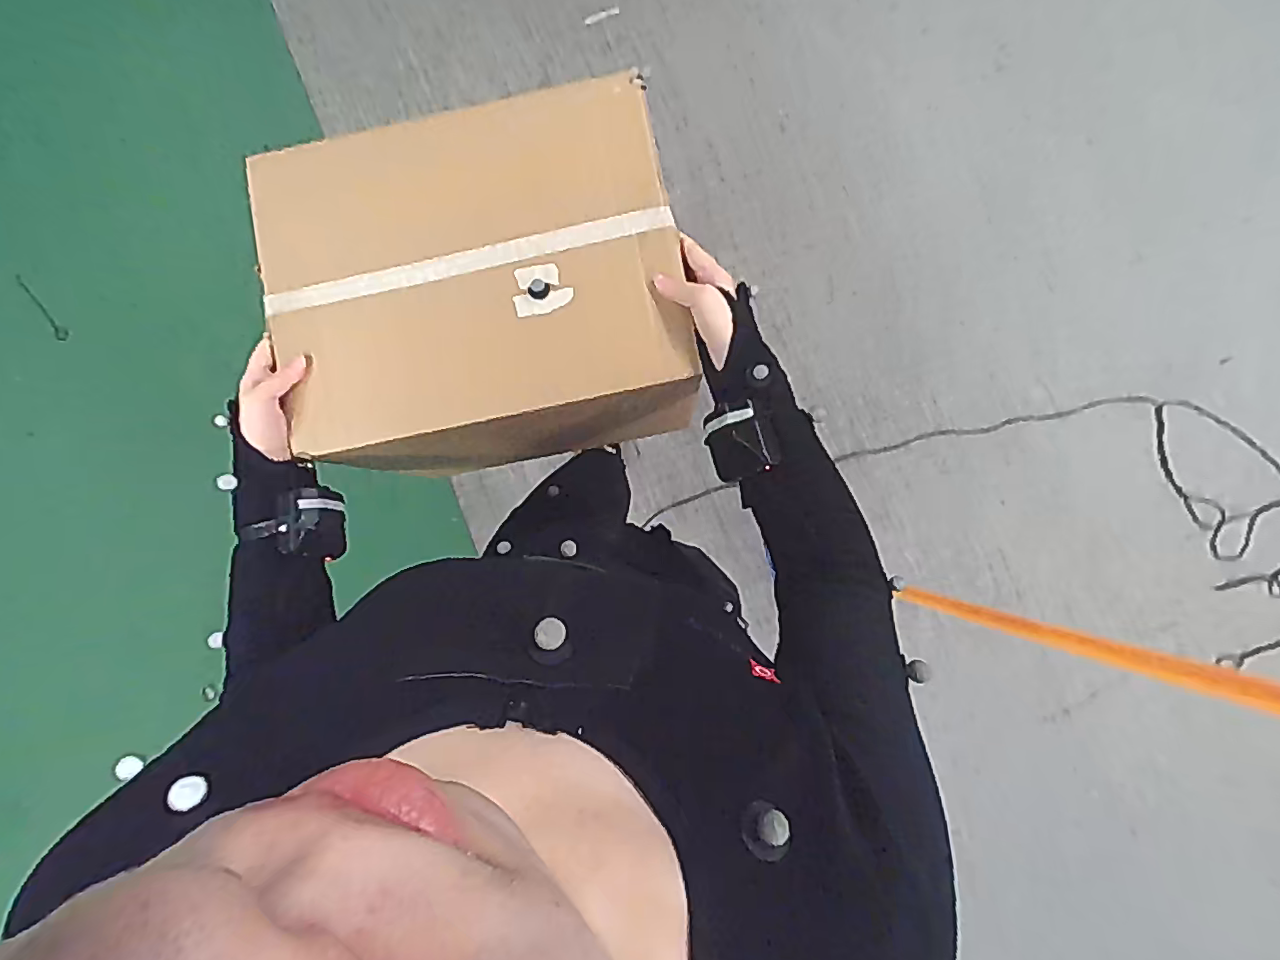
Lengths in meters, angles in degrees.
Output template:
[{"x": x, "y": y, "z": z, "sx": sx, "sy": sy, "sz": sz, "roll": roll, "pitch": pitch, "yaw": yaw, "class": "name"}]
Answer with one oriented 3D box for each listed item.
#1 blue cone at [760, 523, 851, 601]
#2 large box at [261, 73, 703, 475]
[{"x": 0.437, "y": 0.214, "z": 1.315, "sx": 0.192, "sy": 0.380, "sz": 0.193, "roll": -13, "pitch": 87, "yaw": 0, "class": "blue cone"}, {"x": -0.160, "y": -0.209, "z": 0.683, "sx": 0.408, "sy": 0.320, "sz": 0.320, "roll": -12, "pitch": 86, "yaw": 0, "class": "large box"}]
